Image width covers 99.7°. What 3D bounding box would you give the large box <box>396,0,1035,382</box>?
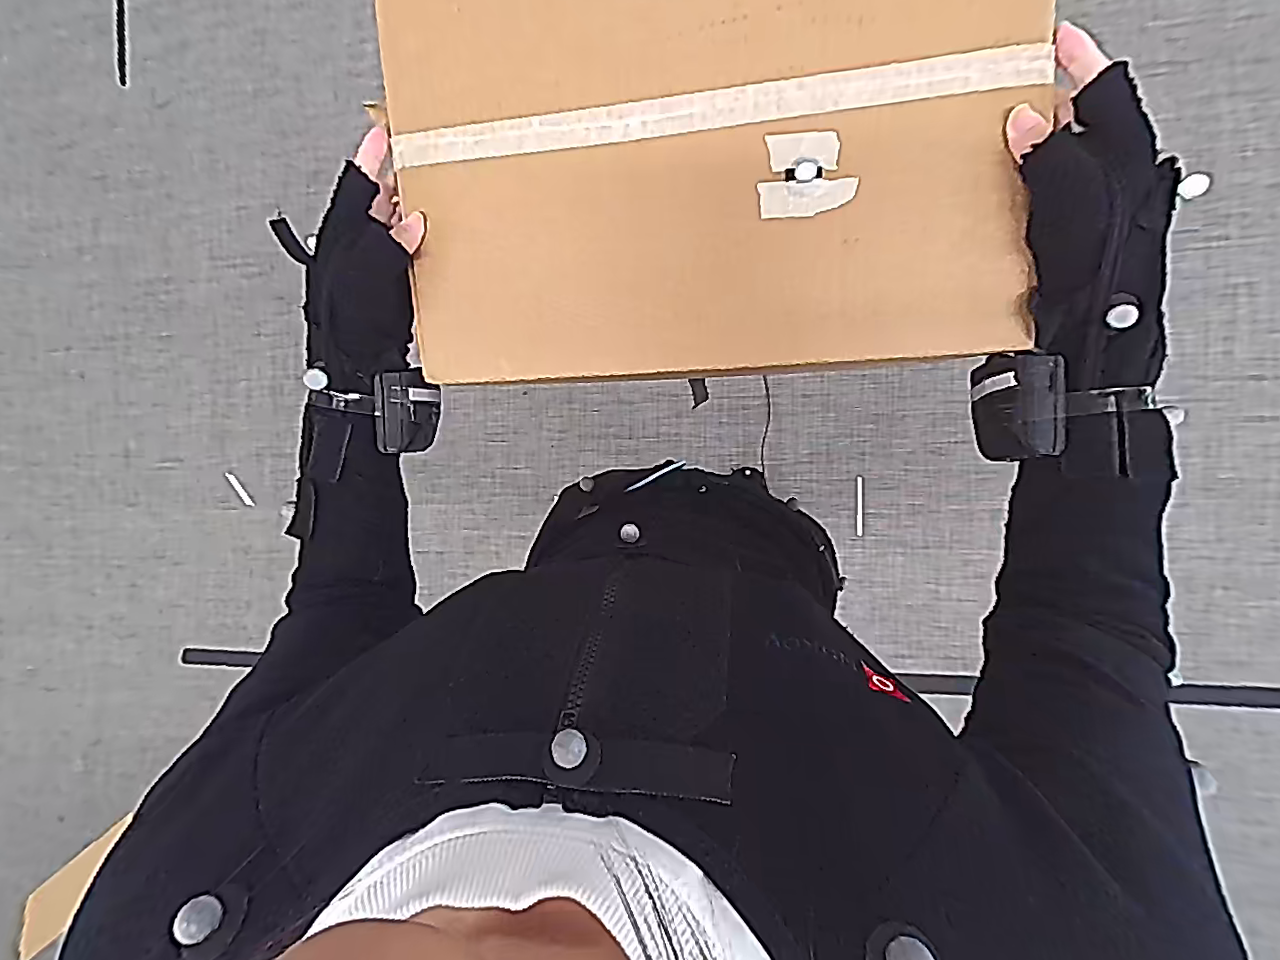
[{"bbox_3d":[0.056,-0.260,0.497,0.408,0.320,0.320,-2,101,8],"label":"large box"}]
